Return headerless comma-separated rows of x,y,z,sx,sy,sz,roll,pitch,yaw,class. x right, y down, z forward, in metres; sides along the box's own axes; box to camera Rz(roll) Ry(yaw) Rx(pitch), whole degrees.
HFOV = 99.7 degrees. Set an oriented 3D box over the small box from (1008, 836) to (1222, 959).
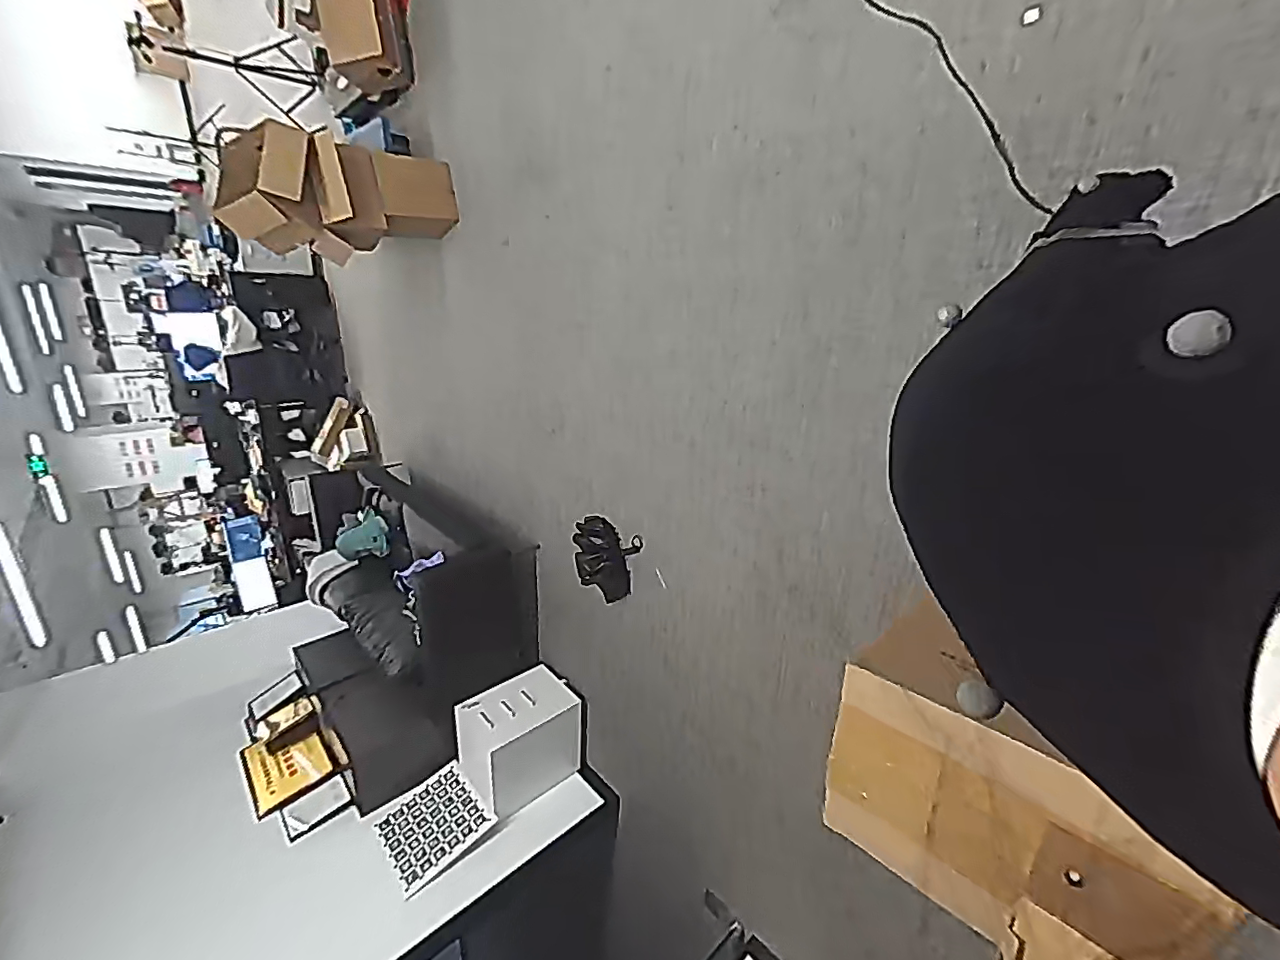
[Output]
0.608,0.610,0.701,0.179,0.176,0.168,16,110,43,small box
